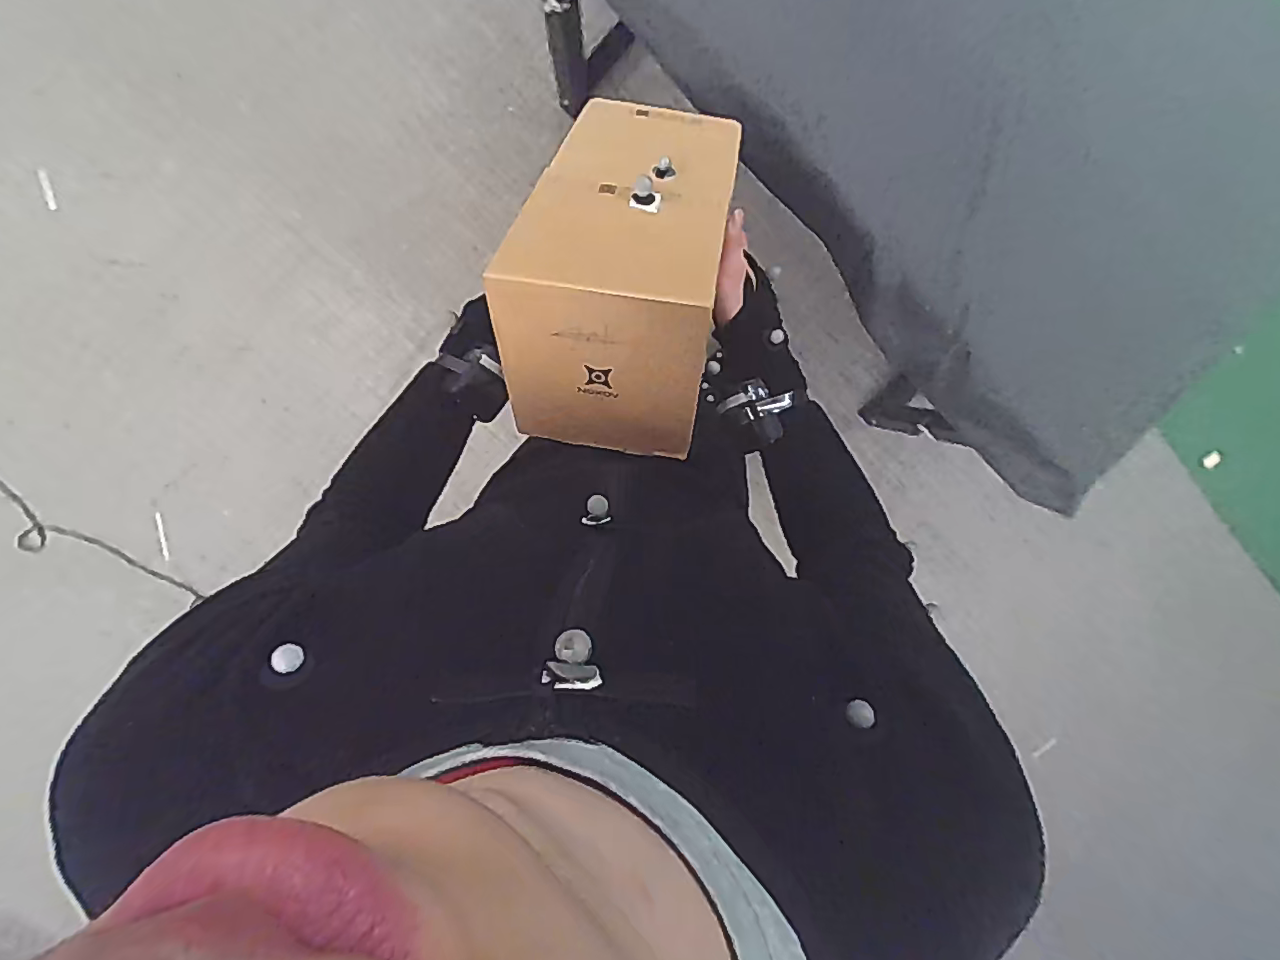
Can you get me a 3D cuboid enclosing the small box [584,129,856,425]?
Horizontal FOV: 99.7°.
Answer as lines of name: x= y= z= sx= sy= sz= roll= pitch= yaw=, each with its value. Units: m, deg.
small box: x=0.065 y=-0.187 z=0.511 sx=0.179 sy=0.168 sz=0.176 roll=20 pitch=126 yaw=-25
